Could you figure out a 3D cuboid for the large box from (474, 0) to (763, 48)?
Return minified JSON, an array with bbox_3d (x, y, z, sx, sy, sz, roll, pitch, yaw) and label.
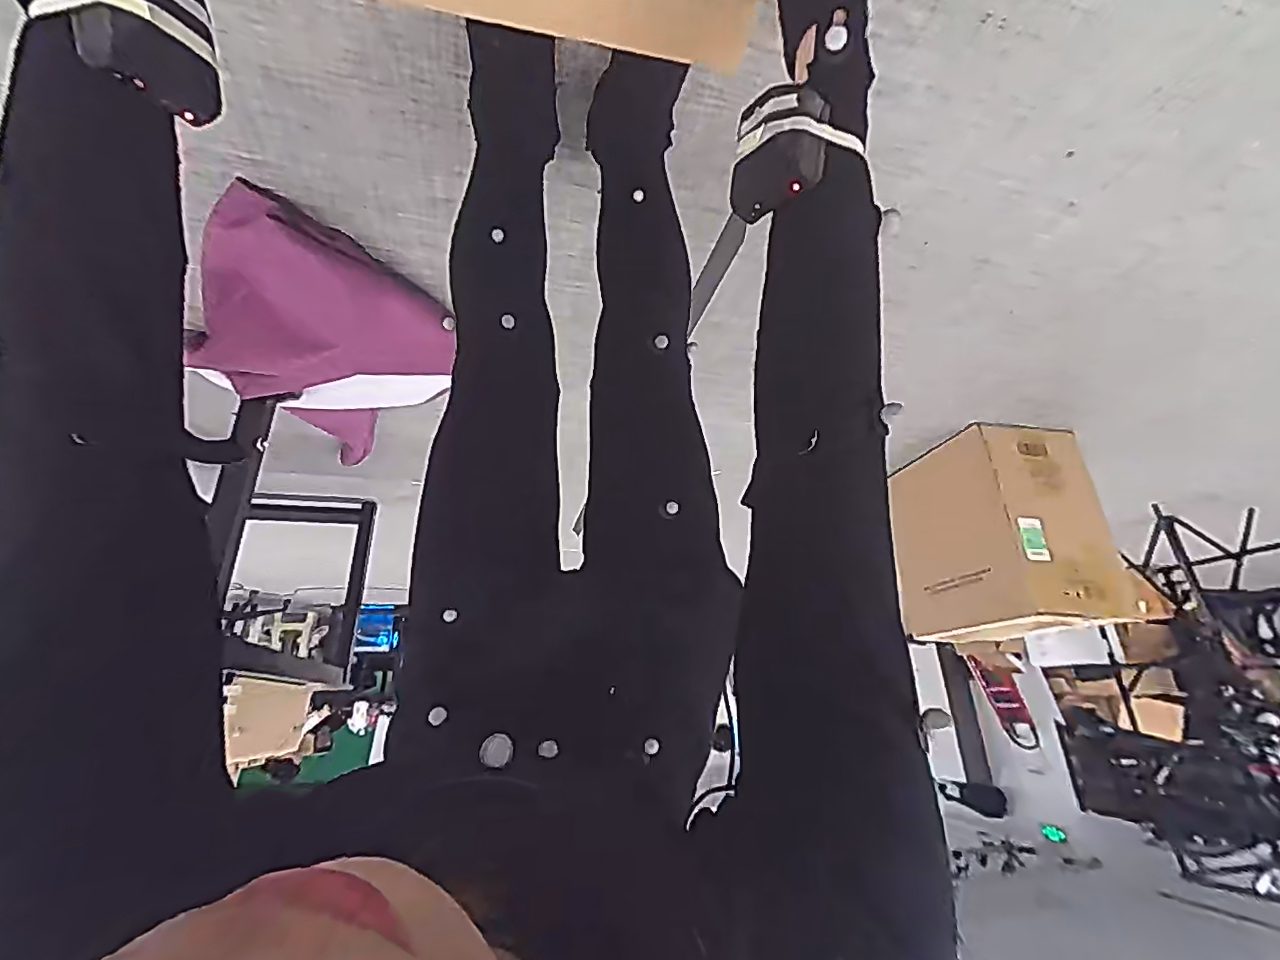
[{"bbox_3d":[-0.082,-0.578,0.358,0.408,0.320,0.320,2,157,-11],"label":"large box"}]
